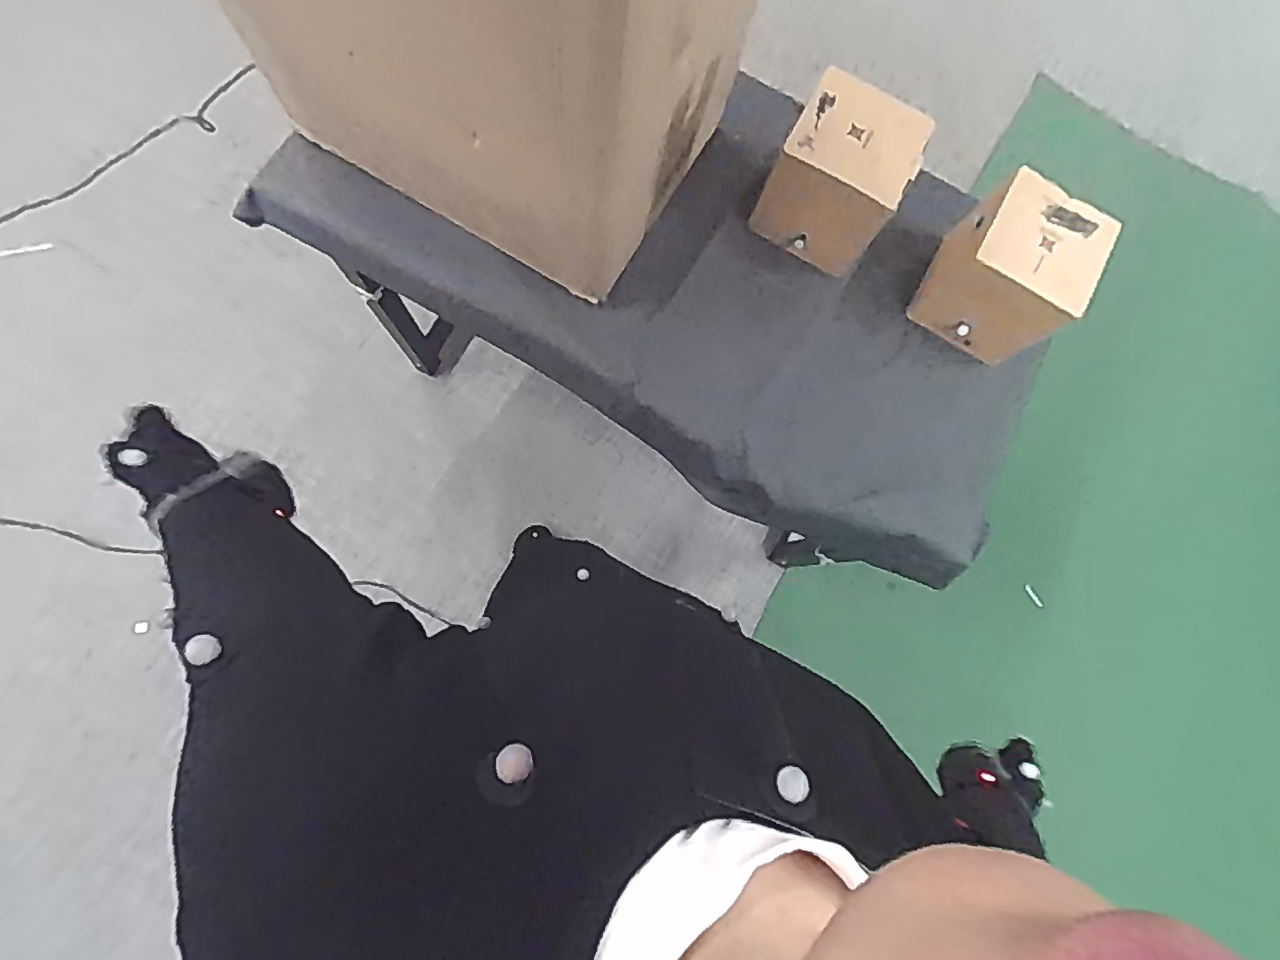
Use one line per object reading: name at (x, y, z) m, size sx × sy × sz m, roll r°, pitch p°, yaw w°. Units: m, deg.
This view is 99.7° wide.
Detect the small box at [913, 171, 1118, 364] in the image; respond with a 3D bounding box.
small box at (0.558, -0.312, 0.826) m, size 0.168 × 0.176 × 0.179 m, roll 31°, pitch 78°, yaw 1°
